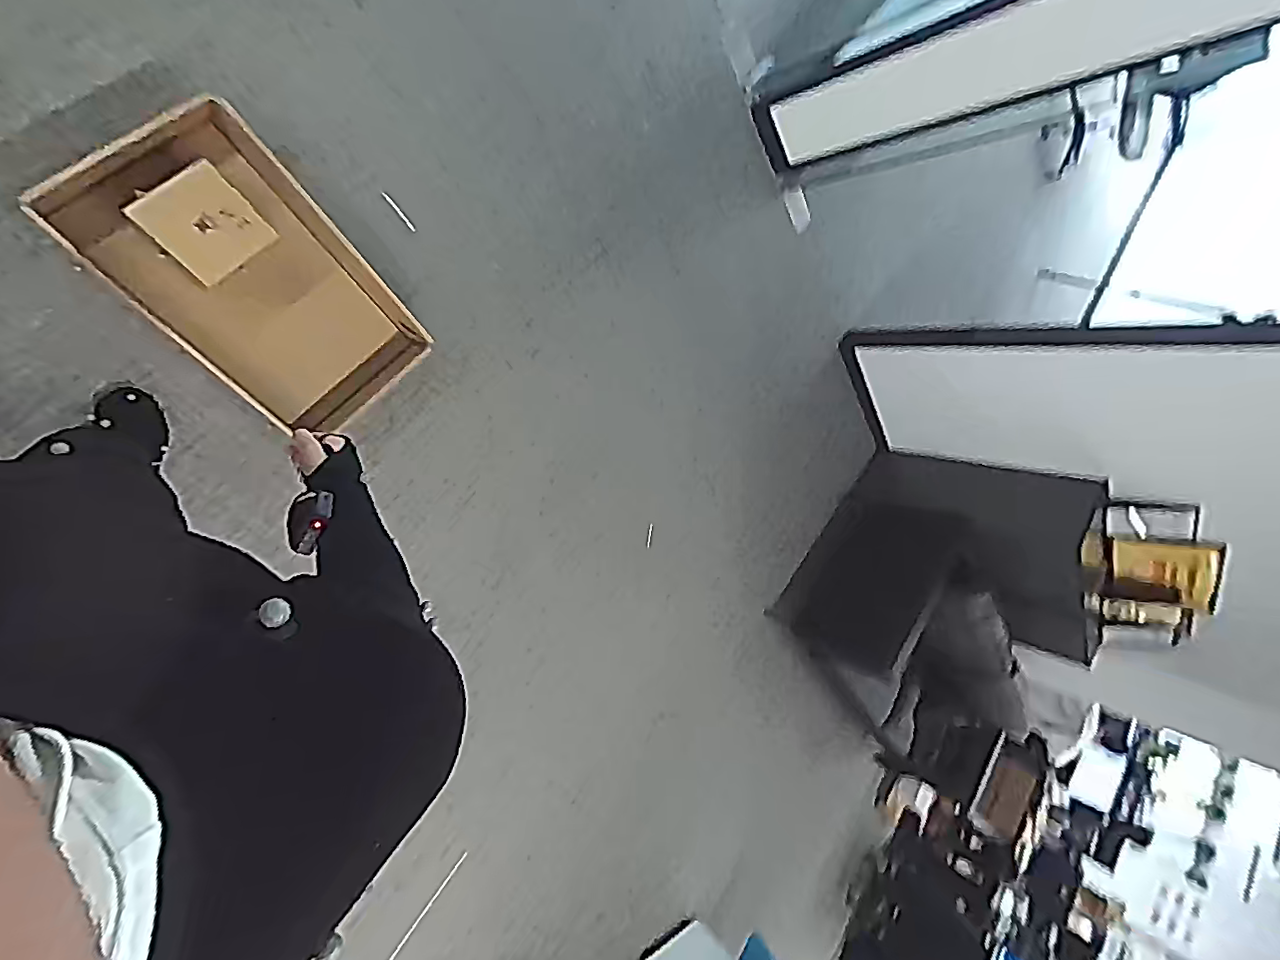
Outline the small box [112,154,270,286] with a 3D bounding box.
[{"bbox_3d":[-0.893,-0.511,1.087,0.179,0.176,0.168,-51,129,-20],"label":"small box"}]
